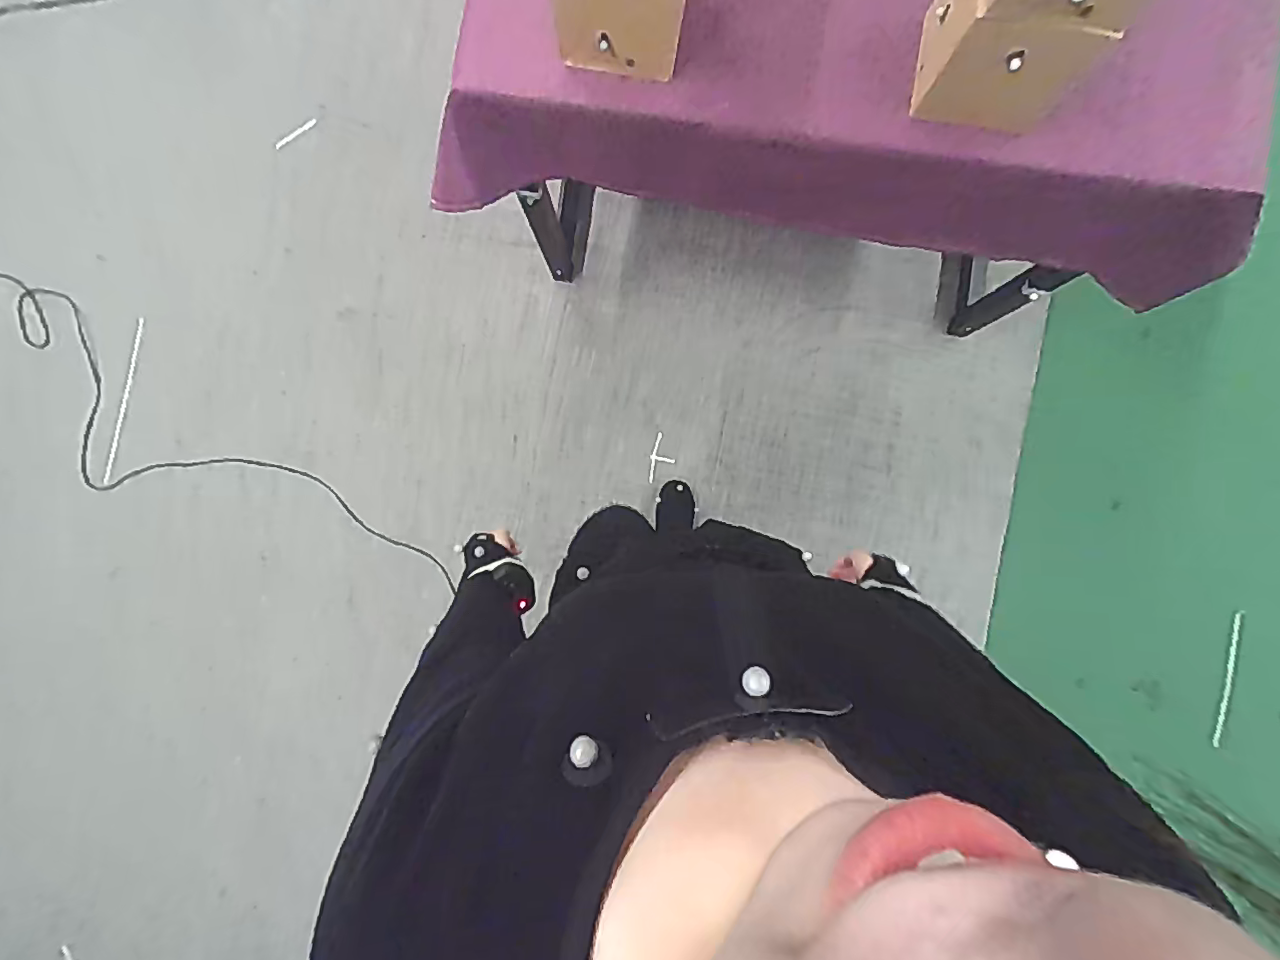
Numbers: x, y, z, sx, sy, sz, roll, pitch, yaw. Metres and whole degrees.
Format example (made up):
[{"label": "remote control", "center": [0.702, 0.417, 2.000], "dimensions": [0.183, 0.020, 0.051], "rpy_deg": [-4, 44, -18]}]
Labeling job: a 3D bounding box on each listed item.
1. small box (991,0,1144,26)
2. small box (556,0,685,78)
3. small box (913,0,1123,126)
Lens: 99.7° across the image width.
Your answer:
[{"label": "small box", "center": [0.488, -0.624, 0.550], "dimensions": [0.168, 0.176, 0.179], "rpy_deg": [8, 88, 2]}, {"label": "small box", "center": [-0.022, -0.702, 0.732], "dimensions": [0.168, 0.176, 0.179], "rpy_deg": [10, 88, 2]}, {"label": "small box", "center": [0.491, -0.608, 0.714], "dimensions": [0.179, 0.176, 0.168], "rpy_deg": [10, 88, 2]}]
